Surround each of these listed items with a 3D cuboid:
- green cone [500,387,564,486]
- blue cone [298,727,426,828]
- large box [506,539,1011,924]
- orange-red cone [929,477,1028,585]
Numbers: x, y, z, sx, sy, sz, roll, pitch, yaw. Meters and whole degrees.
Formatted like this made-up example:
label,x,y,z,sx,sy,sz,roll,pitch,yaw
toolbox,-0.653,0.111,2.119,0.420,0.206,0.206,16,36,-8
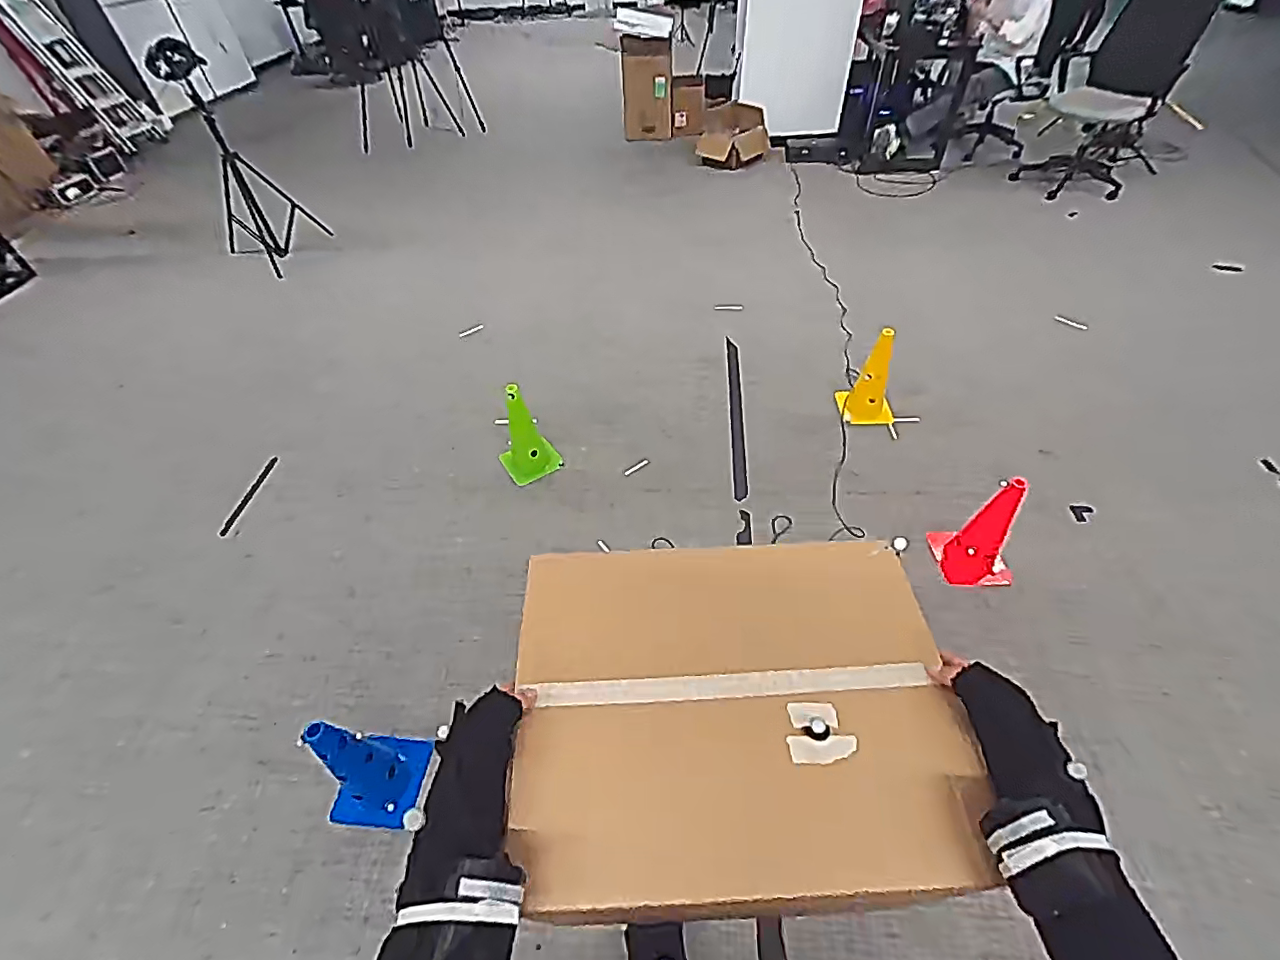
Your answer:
label,x,y,z,sx,sy,sz,roll,pitch,yaw
green cone,-0.431,-0.188,1.962,0.202,0.368,0.200,-29,51,-19
blue cone,-0.652,0.644,1.227,0.192,0.380,0.193,2,47,8
large box,0.086,0.290,0.622,0.408,0.320,0.320,-2,49,-1
orange-red cone,1.024,0.124,1.575,0.198,0.360,0.199,-1,46,2
